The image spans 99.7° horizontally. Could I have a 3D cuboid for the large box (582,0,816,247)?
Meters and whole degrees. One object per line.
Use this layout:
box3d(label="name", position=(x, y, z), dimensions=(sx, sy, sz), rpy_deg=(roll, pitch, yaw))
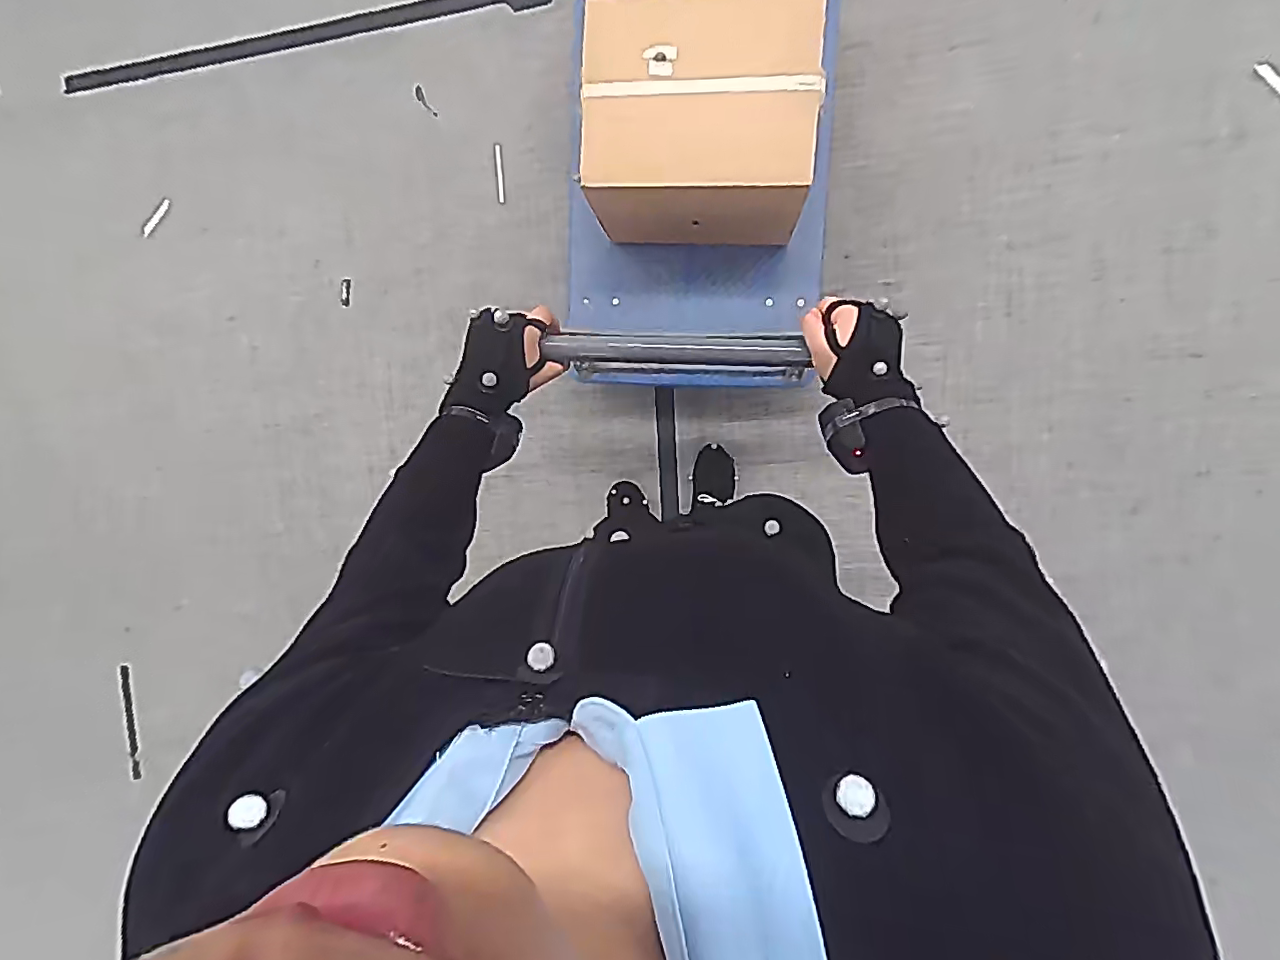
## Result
box3d(label="large box", position=(0.118, -0.676, 1.091), dimensions=(0.408, 0.320, 0.320), rpy_deg=(3, 95, 8))
